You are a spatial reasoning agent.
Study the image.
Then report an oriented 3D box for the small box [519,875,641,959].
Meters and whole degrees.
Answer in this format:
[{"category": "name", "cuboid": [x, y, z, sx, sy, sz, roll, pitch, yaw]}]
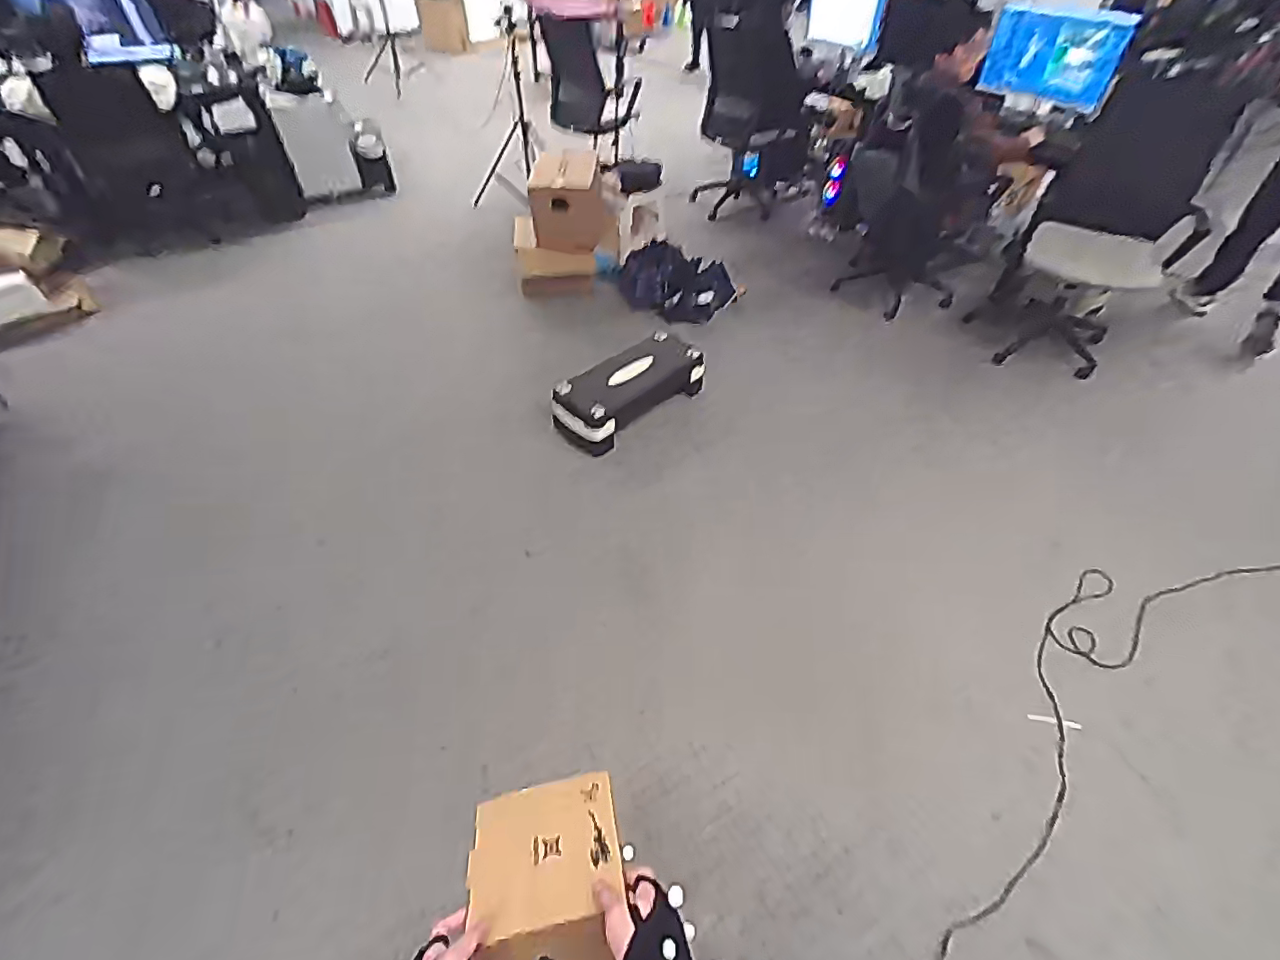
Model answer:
[{"category": "small box", "cuboid": [-0.099, 0.868, 0.980, 0.168, 0.176, 0.179, -28, 53, -22]}]
